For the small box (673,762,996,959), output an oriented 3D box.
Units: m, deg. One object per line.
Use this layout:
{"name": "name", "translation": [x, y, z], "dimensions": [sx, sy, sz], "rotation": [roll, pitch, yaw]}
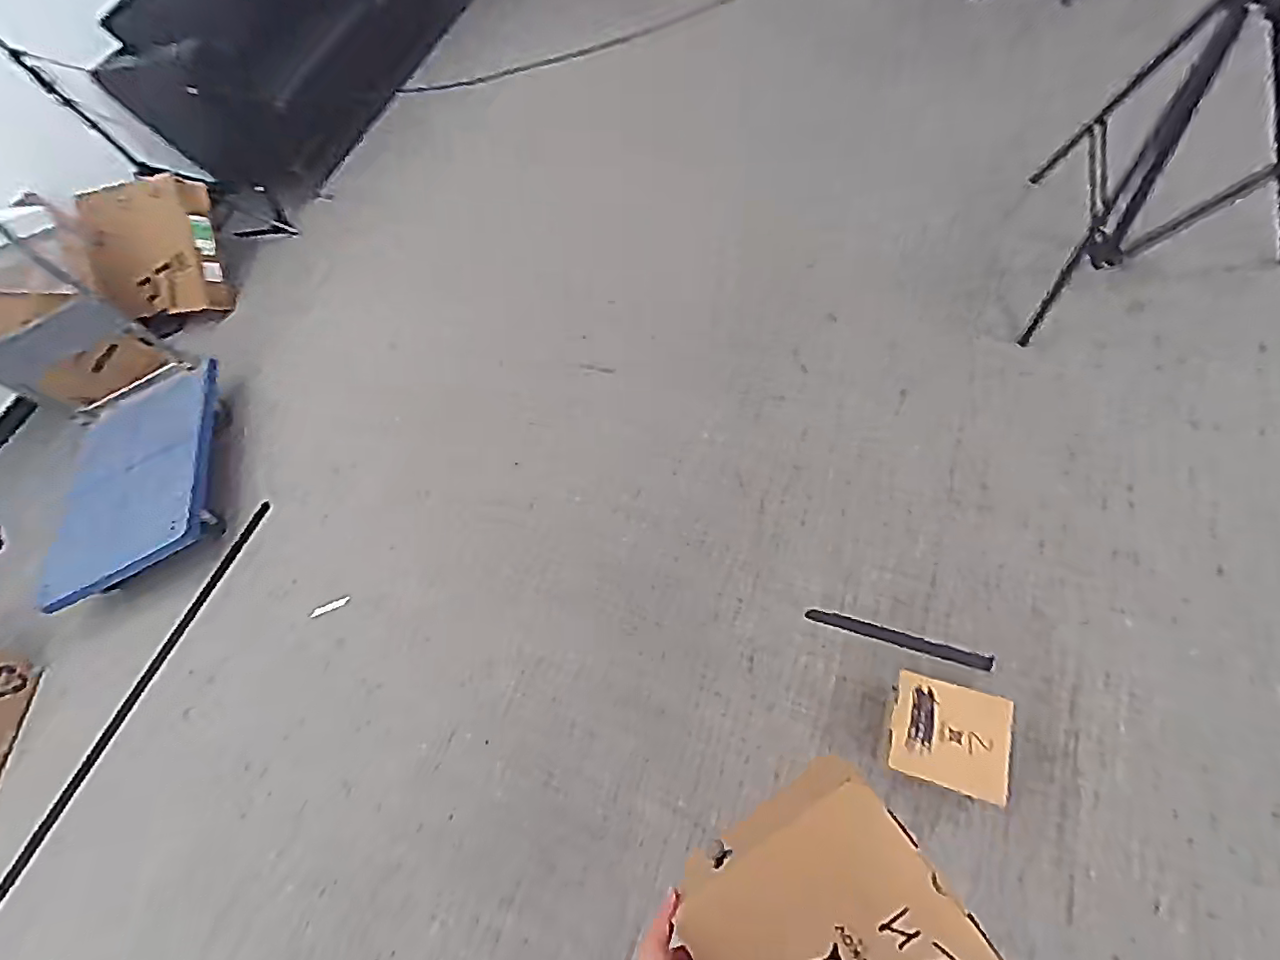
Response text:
{"name": "small box", "translation": [0.150, 0.357, 0.431], "dimensions": [0.179, 0.176, 0.168], "rotation": [-35, 67, -5]}
